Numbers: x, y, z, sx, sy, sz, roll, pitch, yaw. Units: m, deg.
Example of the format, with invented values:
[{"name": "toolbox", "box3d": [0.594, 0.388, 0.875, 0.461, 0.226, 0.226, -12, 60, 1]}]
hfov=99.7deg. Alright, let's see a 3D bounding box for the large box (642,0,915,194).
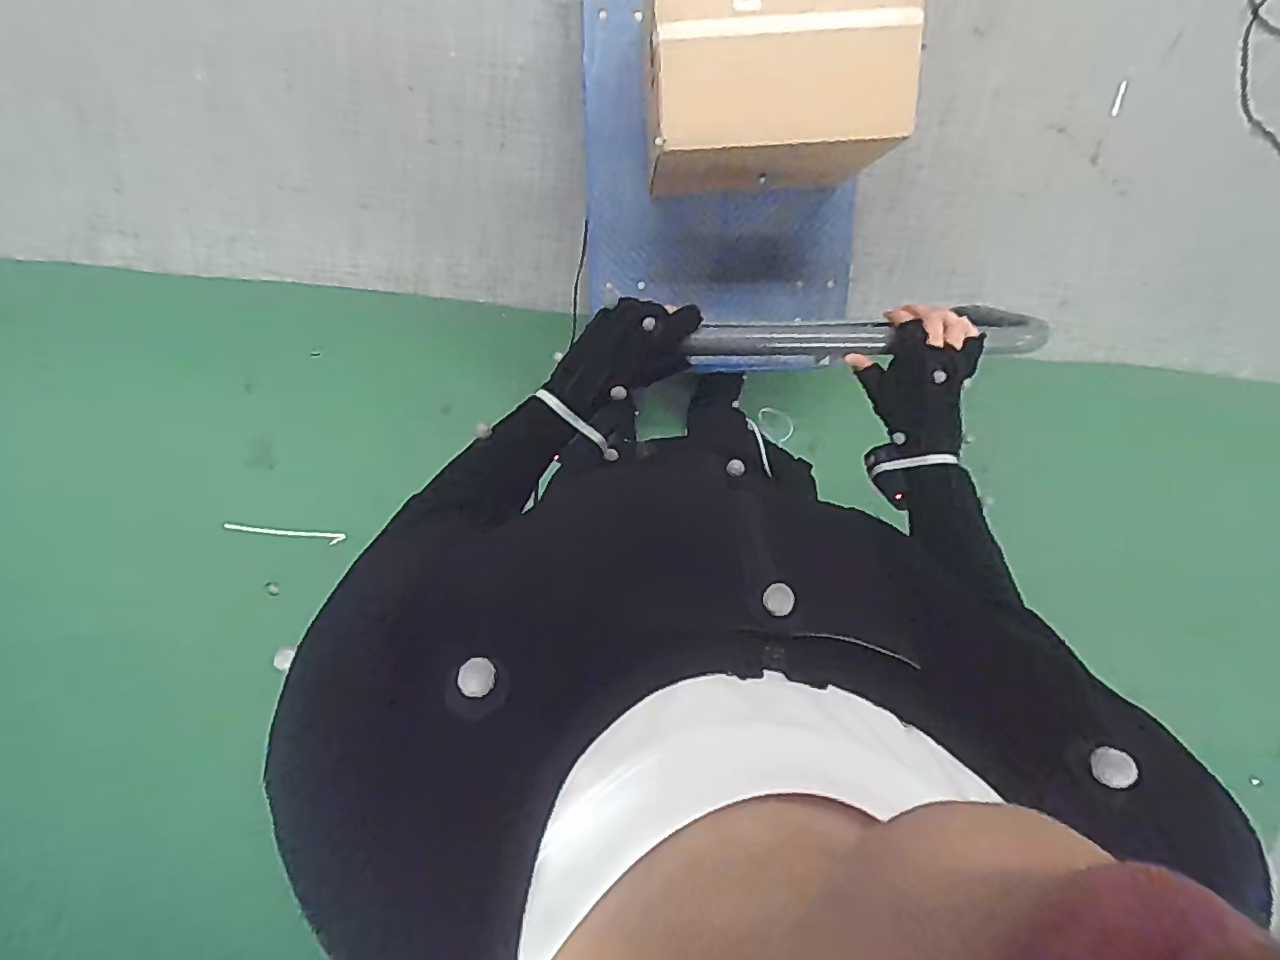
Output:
[{"name": "large box", "box3d": [0.217, -0.724, 0.966, 0.408, 0.320, 0.320, -4, 105, -1]}]
